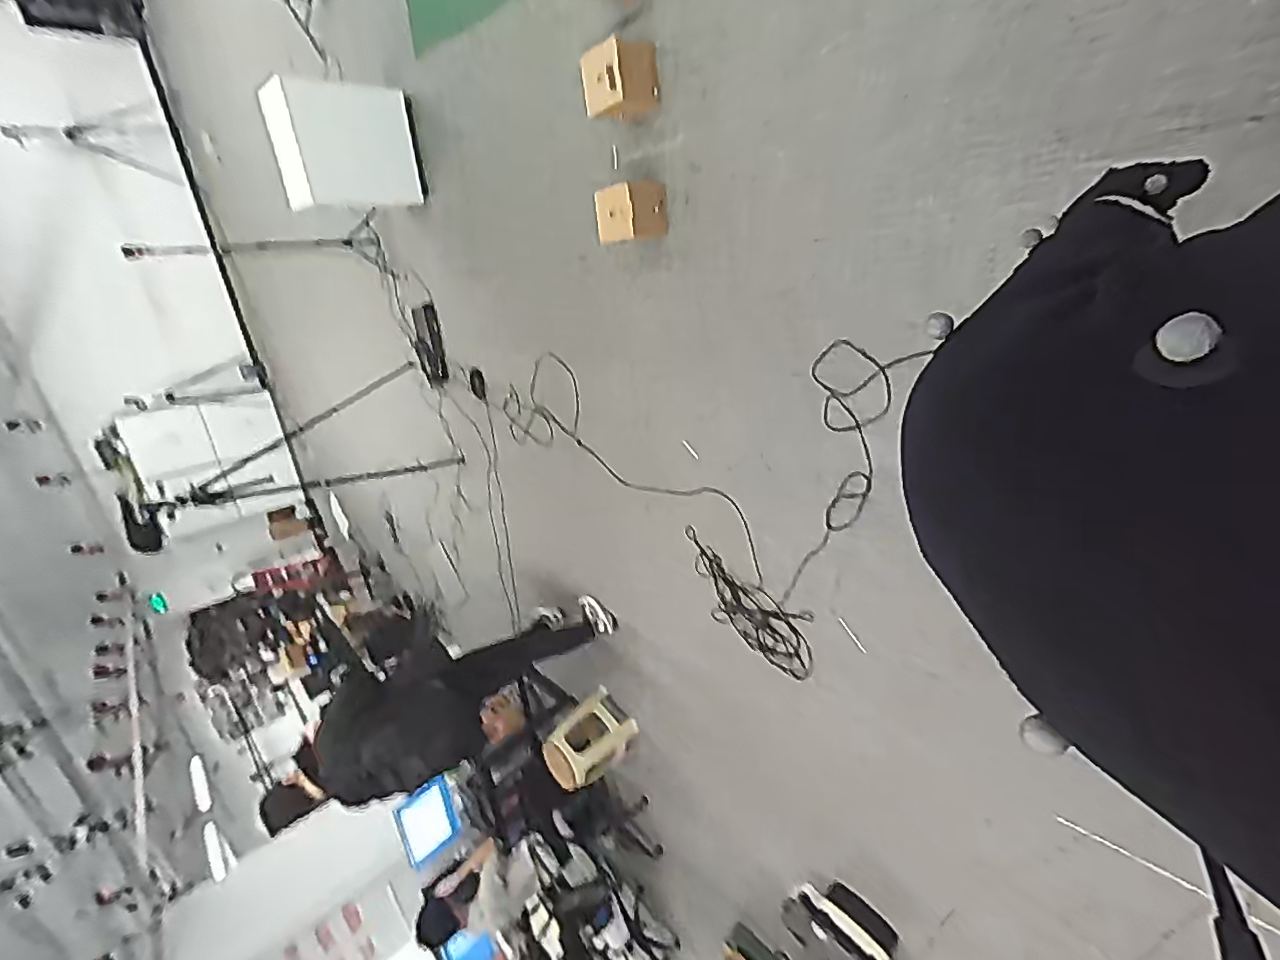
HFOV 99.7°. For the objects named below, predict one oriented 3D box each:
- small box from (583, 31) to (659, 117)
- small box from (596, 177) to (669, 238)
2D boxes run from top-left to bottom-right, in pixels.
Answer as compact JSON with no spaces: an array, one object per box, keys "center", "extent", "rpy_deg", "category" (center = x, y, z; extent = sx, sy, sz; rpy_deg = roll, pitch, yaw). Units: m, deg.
[{"center":[-0.053,-1.272,1.706],"extent":[0.179,0.176,0.168],"rpy_deg":[13,117,46],"category":"small box"},{"center":[-0.024,-0.924,1.843],"extent":[0.179,0.176,0.168],"rpy_deg":[15,120,43],"category":"small box"}]
